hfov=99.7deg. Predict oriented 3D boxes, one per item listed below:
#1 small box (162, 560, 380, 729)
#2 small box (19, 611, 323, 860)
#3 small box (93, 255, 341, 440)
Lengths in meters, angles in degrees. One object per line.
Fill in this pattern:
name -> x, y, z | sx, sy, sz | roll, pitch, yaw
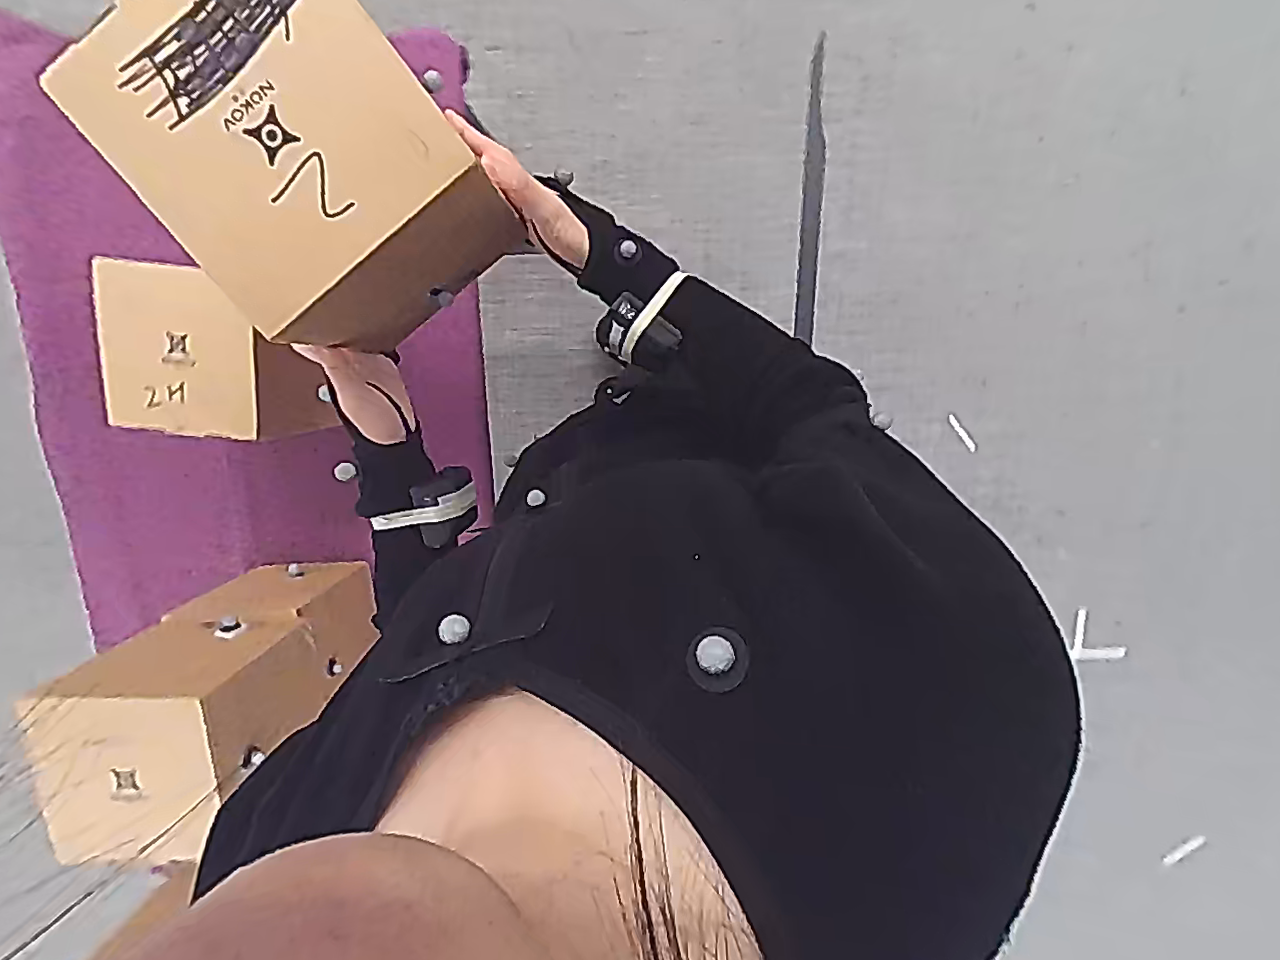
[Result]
small box -> -0.475, 0.221, 0.727 | 0.168, 0.176, 0.179 | -3, 101, 1
small box -> -0.464, 0.255, 0.569 | 0.168, 0.176, 0.179 | -1, 101, 0
small box -> -0.484, -0.153, 0.646 | 0.168, 0.176, 0.179 | 6, 103, 1
